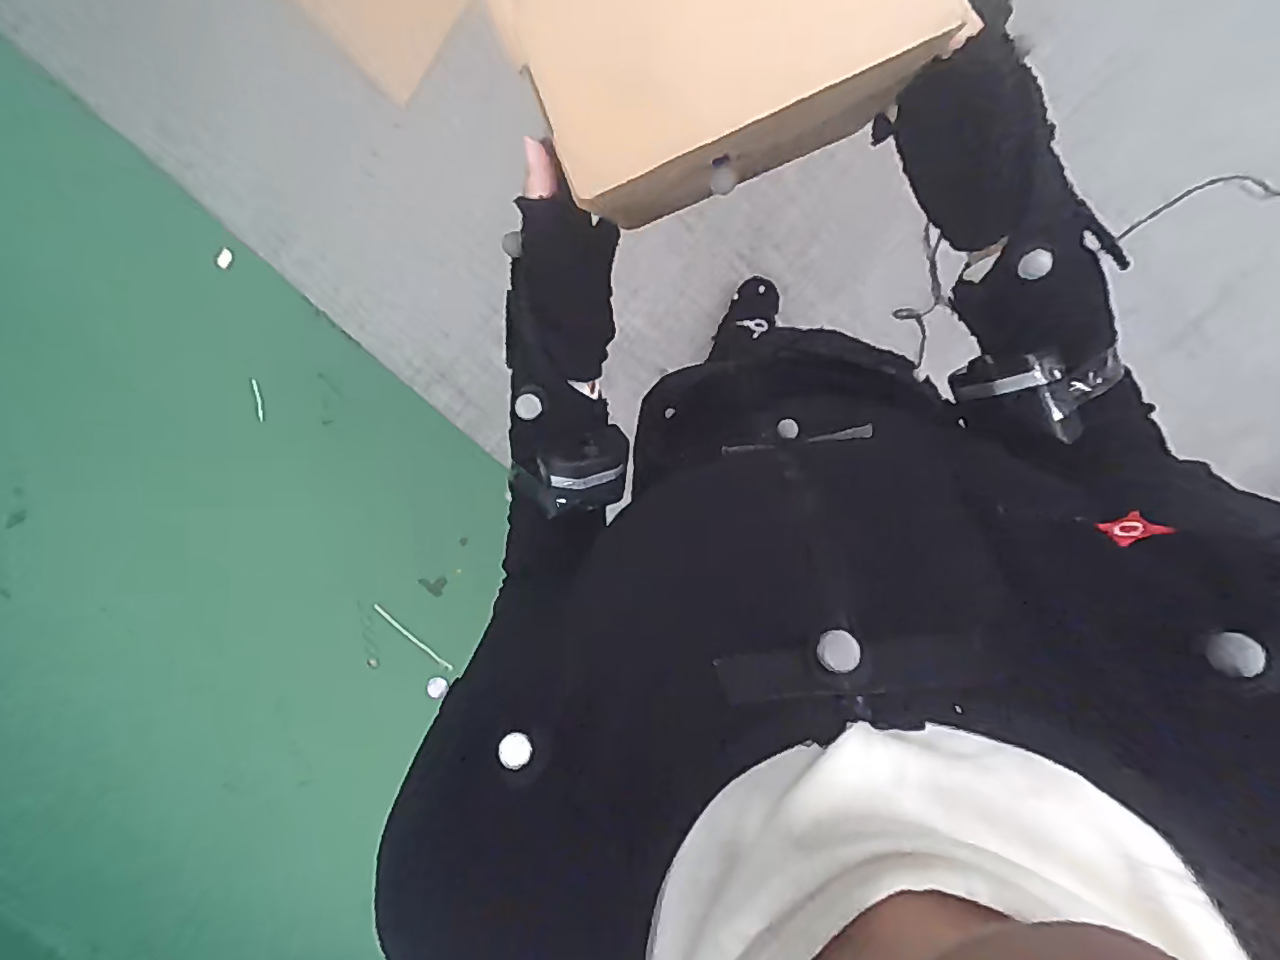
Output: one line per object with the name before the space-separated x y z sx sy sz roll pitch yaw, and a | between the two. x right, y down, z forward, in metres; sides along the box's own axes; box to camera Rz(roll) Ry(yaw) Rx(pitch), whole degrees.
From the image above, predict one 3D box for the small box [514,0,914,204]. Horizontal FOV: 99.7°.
small box | 0.031 -0.274 0.289 0.179 0.176 0.168 -20 105 14
